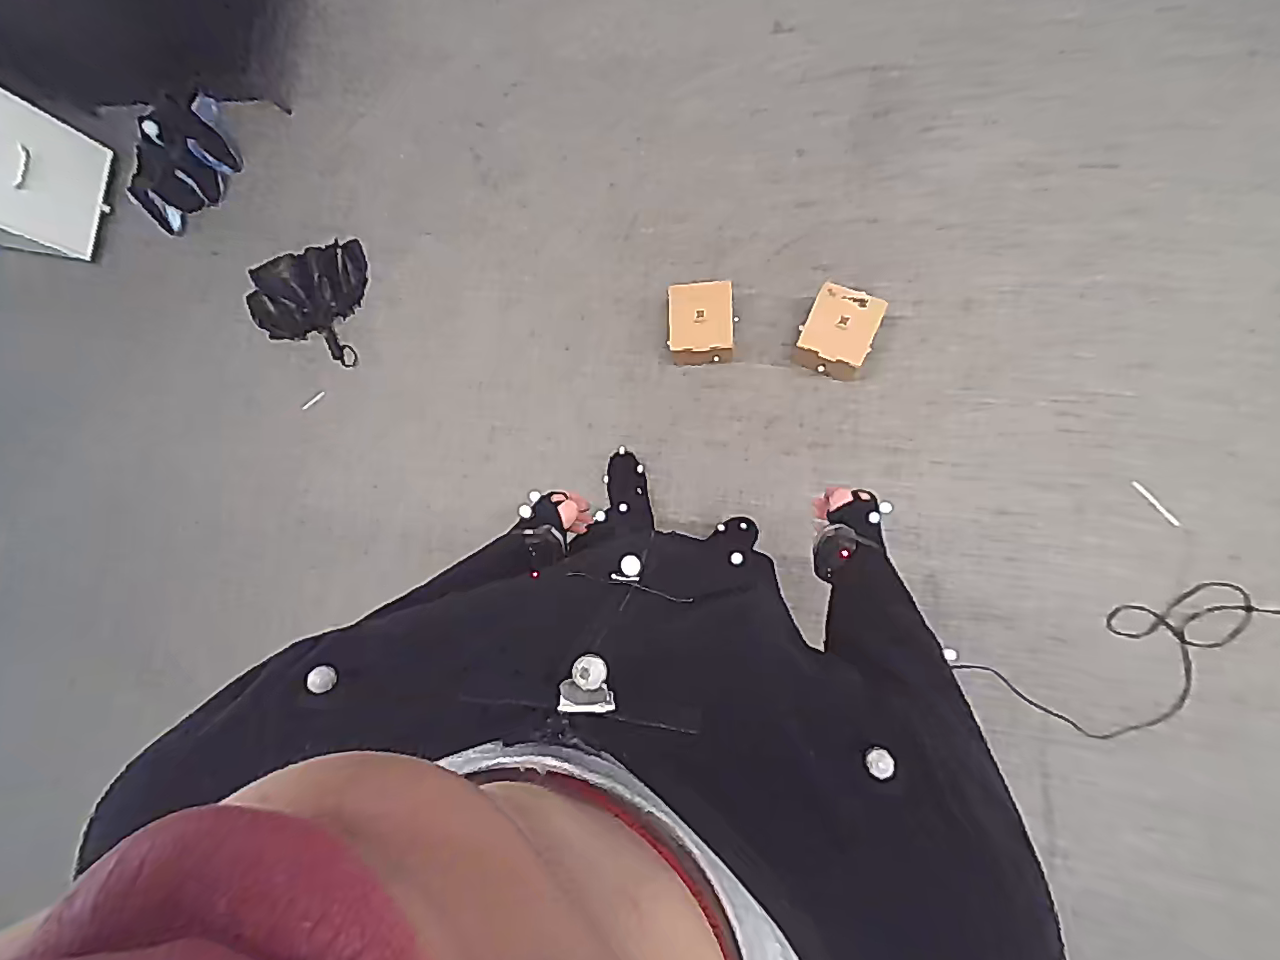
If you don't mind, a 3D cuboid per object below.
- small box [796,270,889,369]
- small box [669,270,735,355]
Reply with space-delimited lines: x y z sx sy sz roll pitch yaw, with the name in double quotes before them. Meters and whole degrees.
"small box" 0.512 -0.405 1.396 0.168 0.176 0.179 24 94 11
"small box" 0.171 -0.444 1.466 0.168 0.176 0.179 -2 88 10
